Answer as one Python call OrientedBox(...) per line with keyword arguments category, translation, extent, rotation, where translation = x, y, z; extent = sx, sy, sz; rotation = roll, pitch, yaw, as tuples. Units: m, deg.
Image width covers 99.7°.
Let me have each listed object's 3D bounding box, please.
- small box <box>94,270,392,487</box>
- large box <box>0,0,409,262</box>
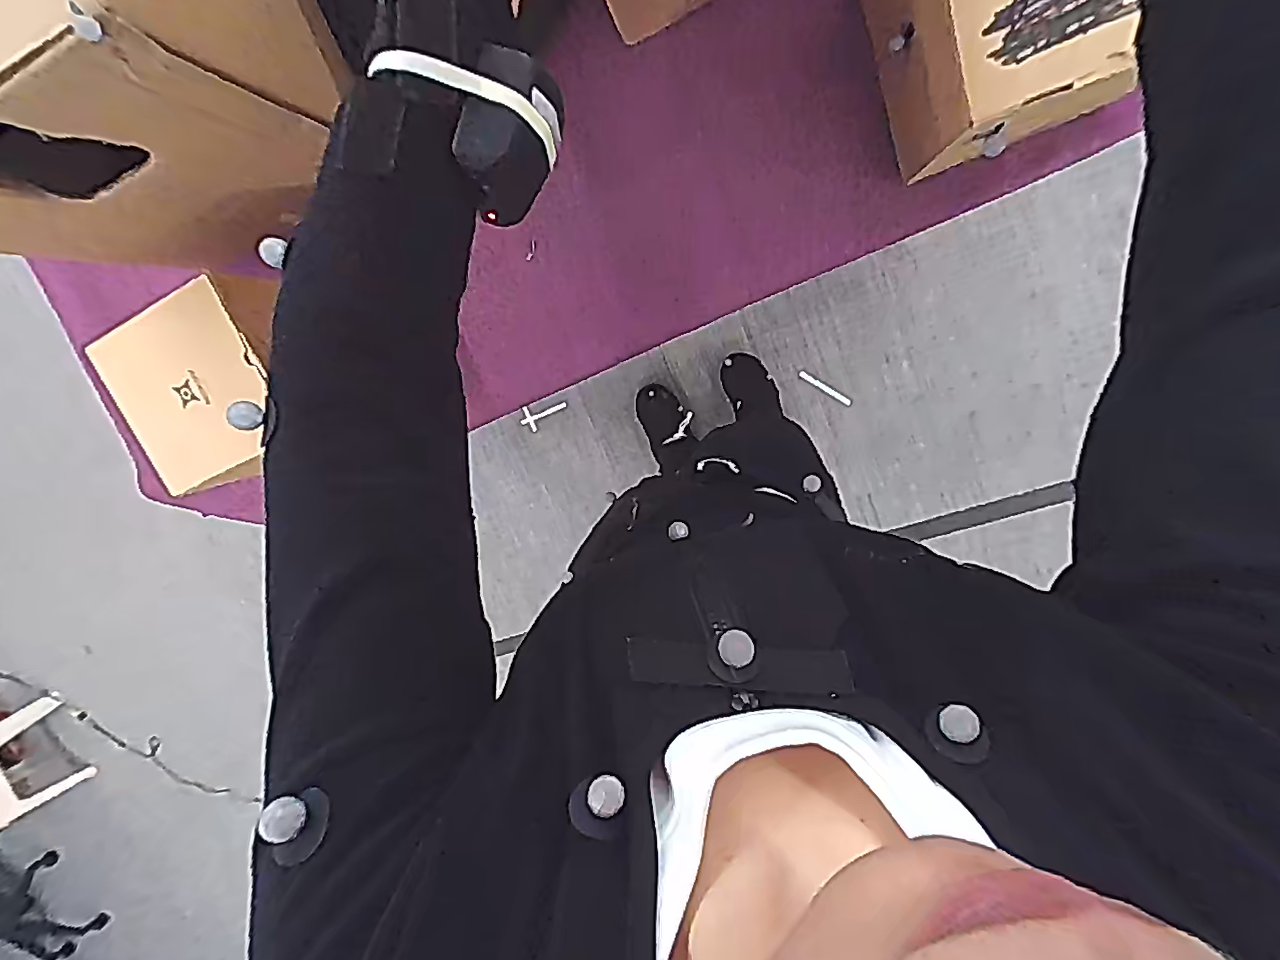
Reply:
OrientedBox(category="small box", translation=(-0.425, -0.112, 0.608), extent=(0.179, 0.176, 0.168), rotation=(-21, 100, 15))
OrientedBox(category="large box", translation=(-0.481, -0.443, 0.446), extent=(0.320, 0.320, 0.408), rotation=(-18, 105, 16))
